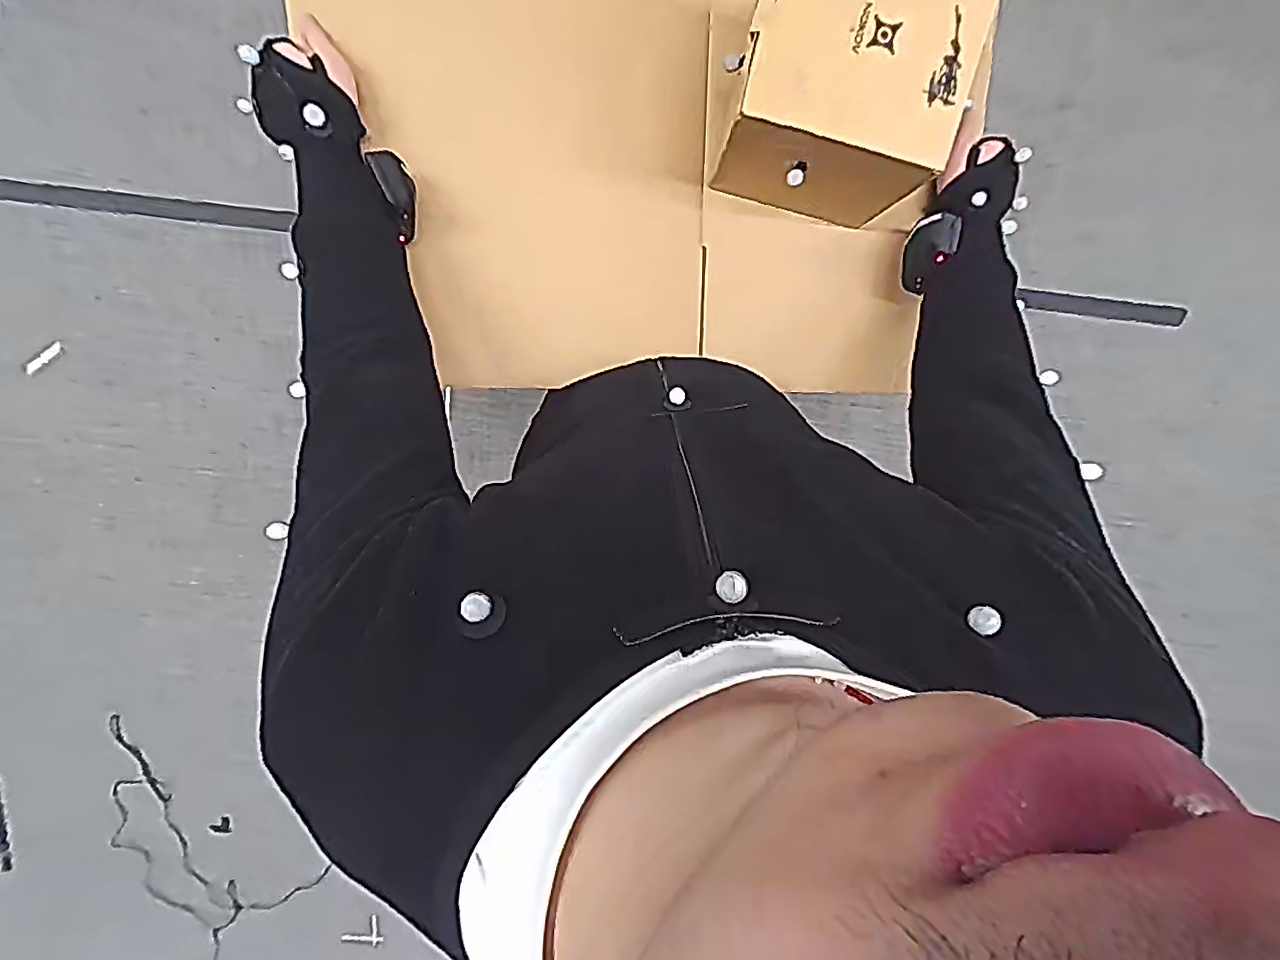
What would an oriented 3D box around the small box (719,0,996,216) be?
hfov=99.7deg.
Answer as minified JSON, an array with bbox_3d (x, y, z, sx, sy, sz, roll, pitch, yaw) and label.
[{"bbox_3d":[0.183,-0.368,0.501,0.179,0.176,0.168,14,100,-3],"label":"small box"}]
